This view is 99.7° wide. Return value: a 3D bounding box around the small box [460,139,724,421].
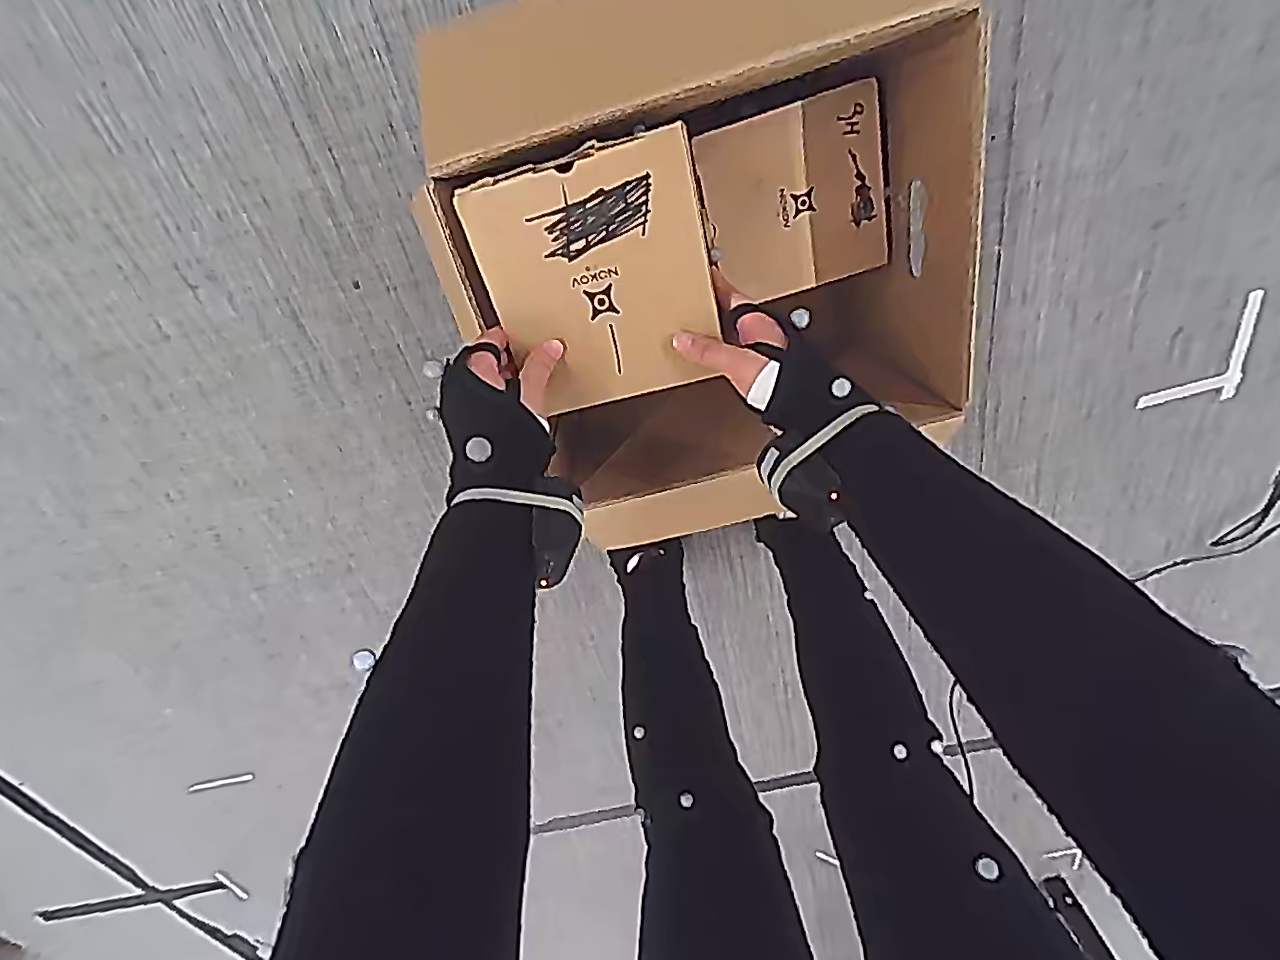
[{"bbox_3d":[-0.029,-0.179,0.479,0.168,0.176,0.179,-12,120,9],"label":"small box"}]
